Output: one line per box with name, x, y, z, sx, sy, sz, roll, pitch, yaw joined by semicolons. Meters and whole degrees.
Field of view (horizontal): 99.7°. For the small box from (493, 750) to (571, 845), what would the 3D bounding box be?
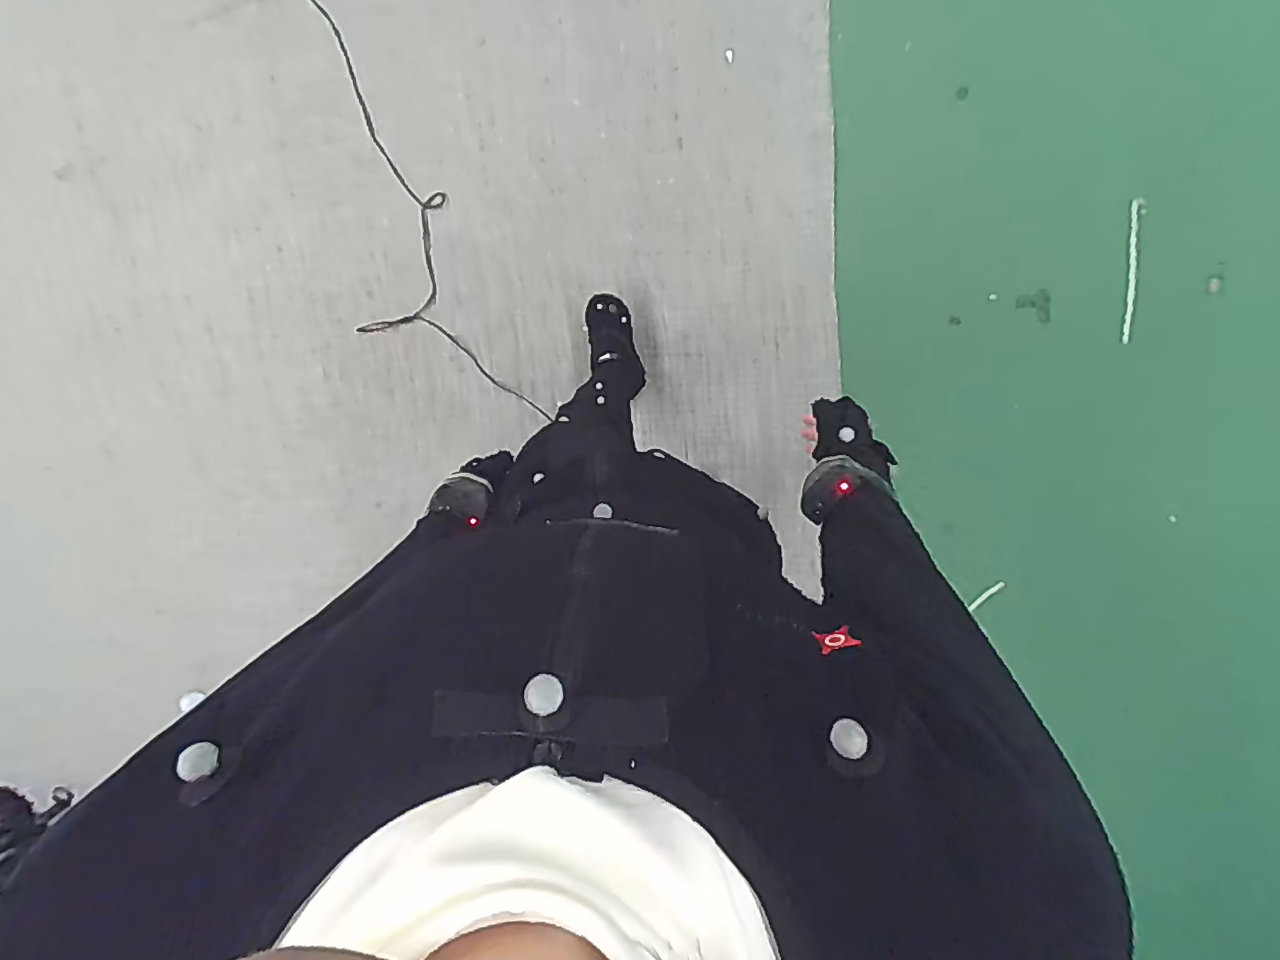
small box;-0.301;0.896;1.538;0.179;0.176;0.168;-1;101;4
